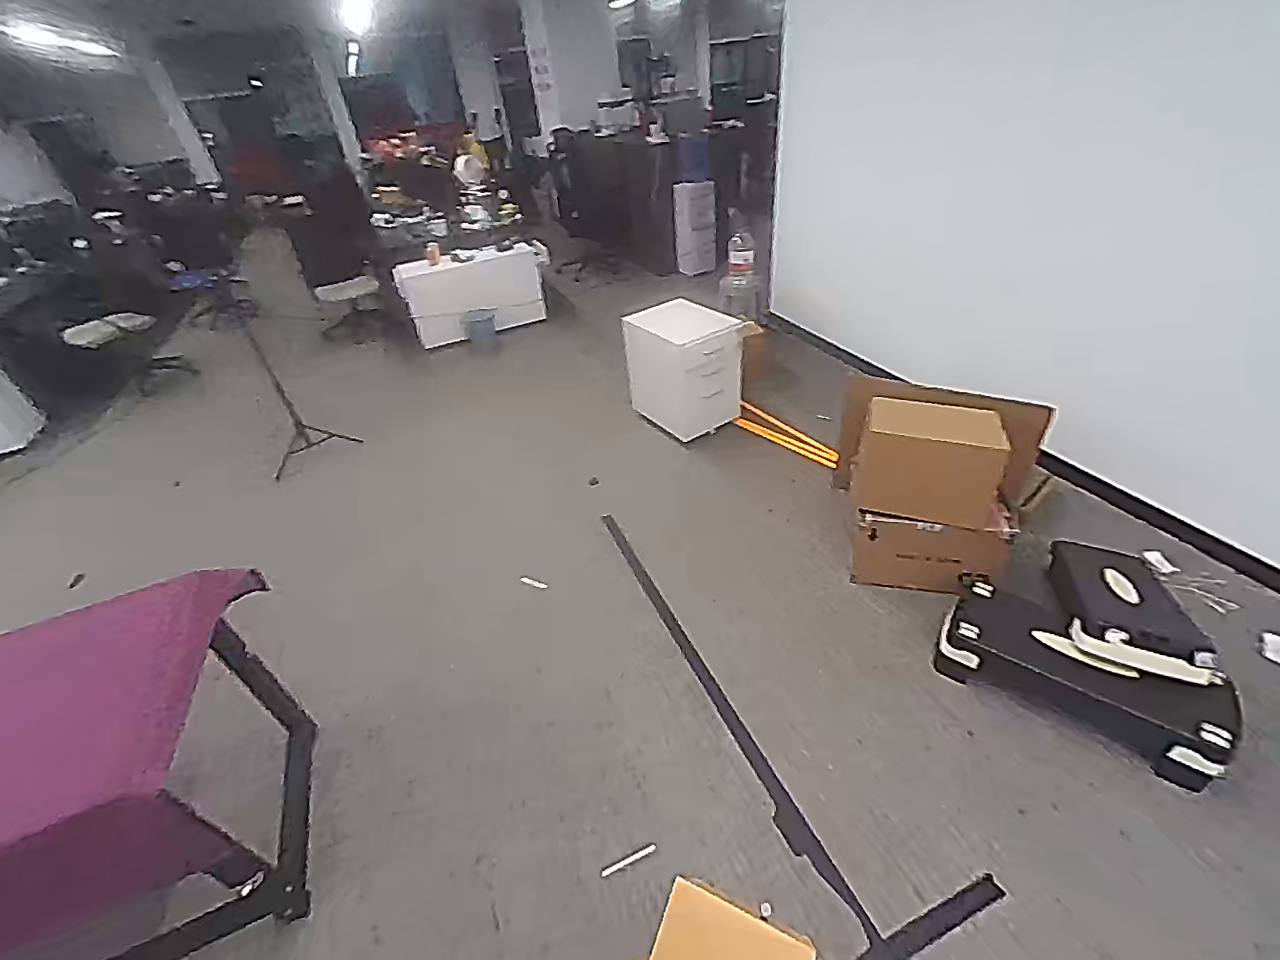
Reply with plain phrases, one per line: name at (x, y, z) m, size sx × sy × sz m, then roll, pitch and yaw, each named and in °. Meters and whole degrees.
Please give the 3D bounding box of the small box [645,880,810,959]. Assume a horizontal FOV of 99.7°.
small box at (0.090, 0.604, 0.632) m, size 0.168 × 0.176 × 0.179 m, roll 14°, pitch 59°, yaw 22°
